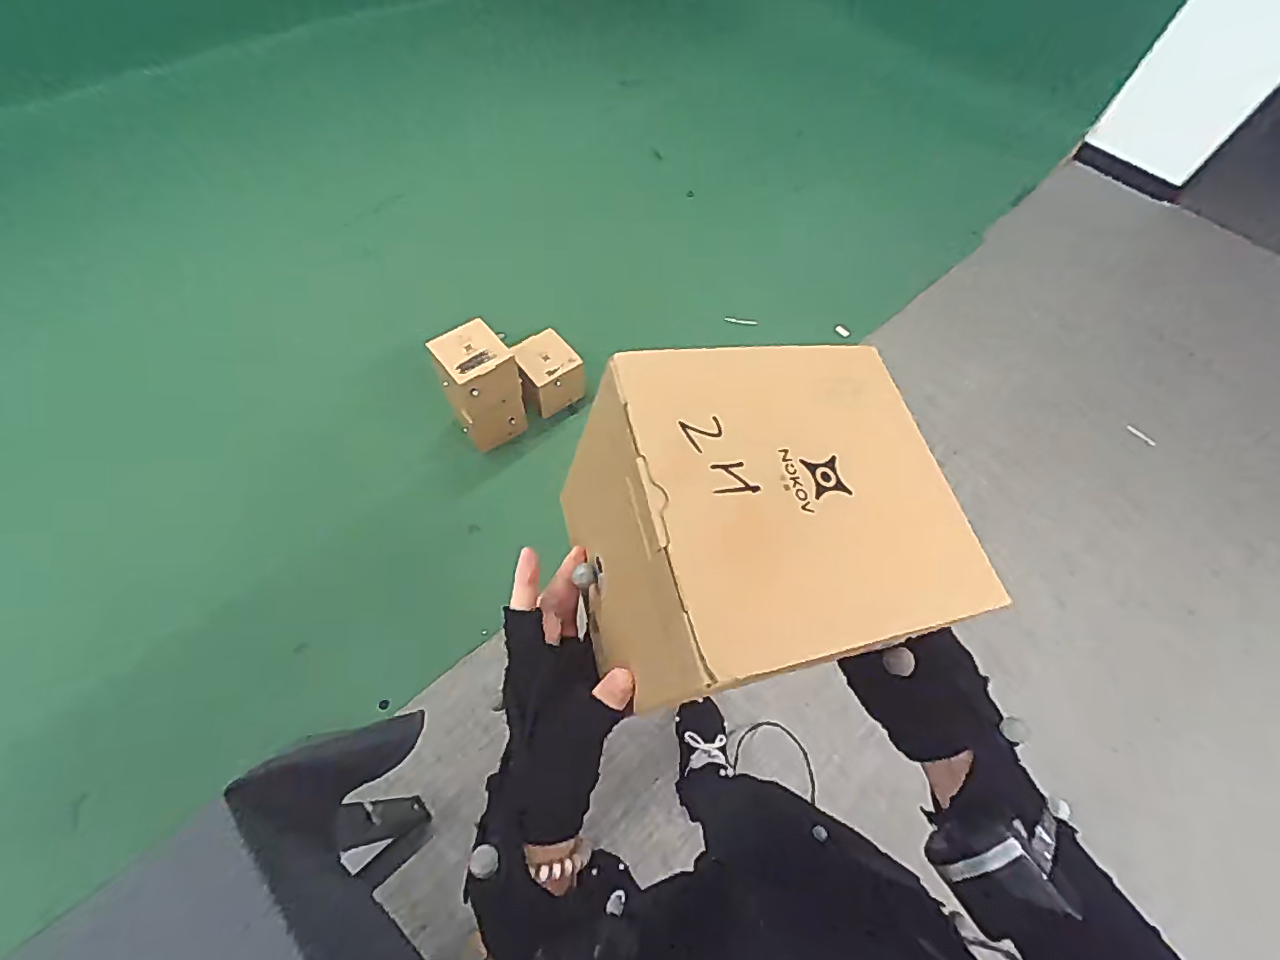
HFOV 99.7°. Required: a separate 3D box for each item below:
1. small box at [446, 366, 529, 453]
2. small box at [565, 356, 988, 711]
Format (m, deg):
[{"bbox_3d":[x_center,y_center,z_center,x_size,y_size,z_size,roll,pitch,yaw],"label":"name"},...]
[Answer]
[{"bbox_3d":[-0.456,-0.203,1.638,0.168,0.176,0.179,-33,68,-19],"label":"small box"},{"bbox_3d":[0.061,0.039,0.349,0.179,0.176,0.168,-7,65,-20],"label":"small box"}]
